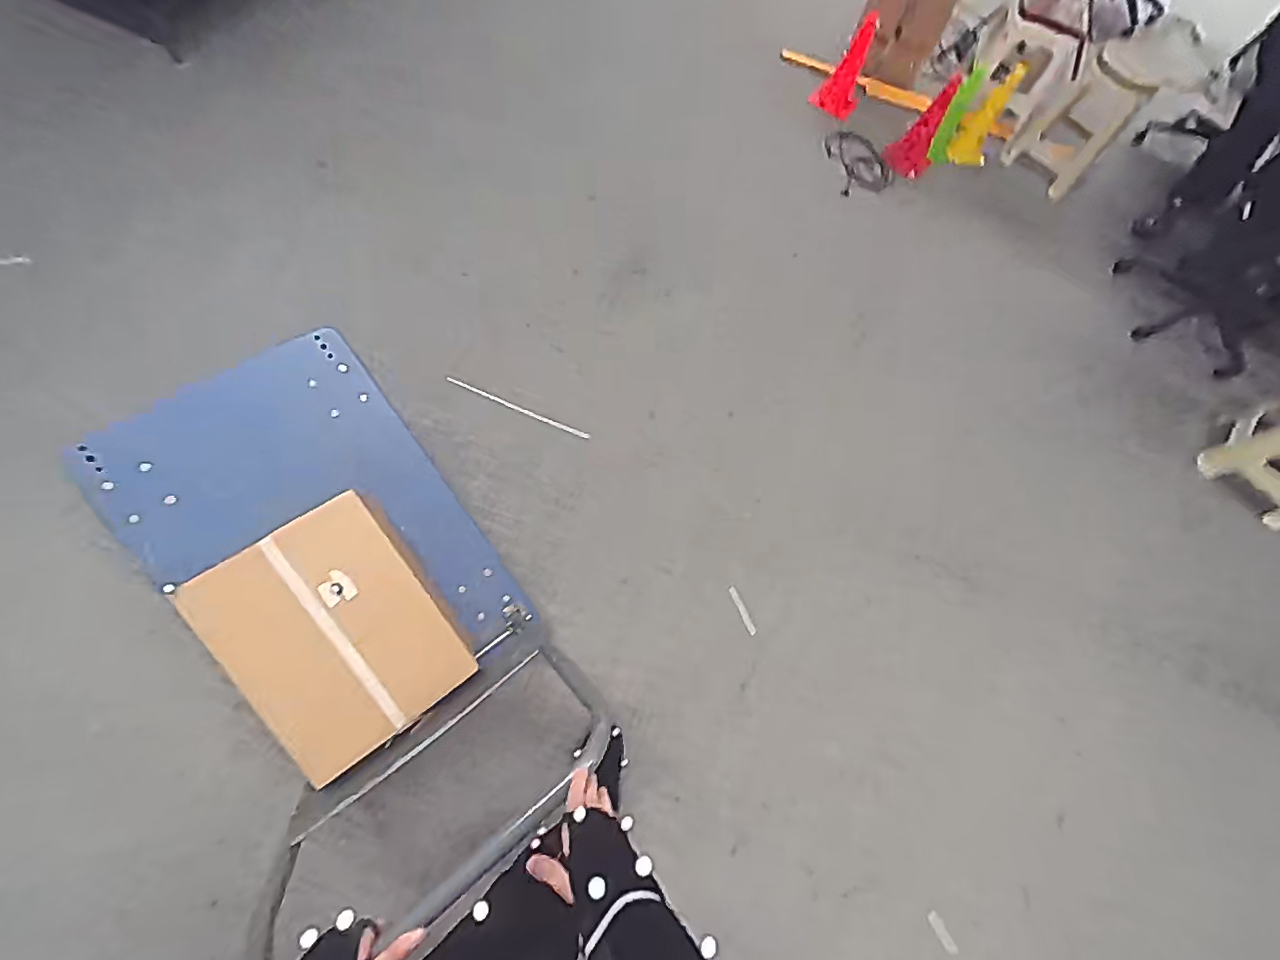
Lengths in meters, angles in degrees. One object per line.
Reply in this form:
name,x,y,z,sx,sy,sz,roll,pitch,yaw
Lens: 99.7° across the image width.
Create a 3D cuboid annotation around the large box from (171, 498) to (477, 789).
large box,-0.573,0.292,1.070,0.320,0.320,0.408,-35,96,-21
